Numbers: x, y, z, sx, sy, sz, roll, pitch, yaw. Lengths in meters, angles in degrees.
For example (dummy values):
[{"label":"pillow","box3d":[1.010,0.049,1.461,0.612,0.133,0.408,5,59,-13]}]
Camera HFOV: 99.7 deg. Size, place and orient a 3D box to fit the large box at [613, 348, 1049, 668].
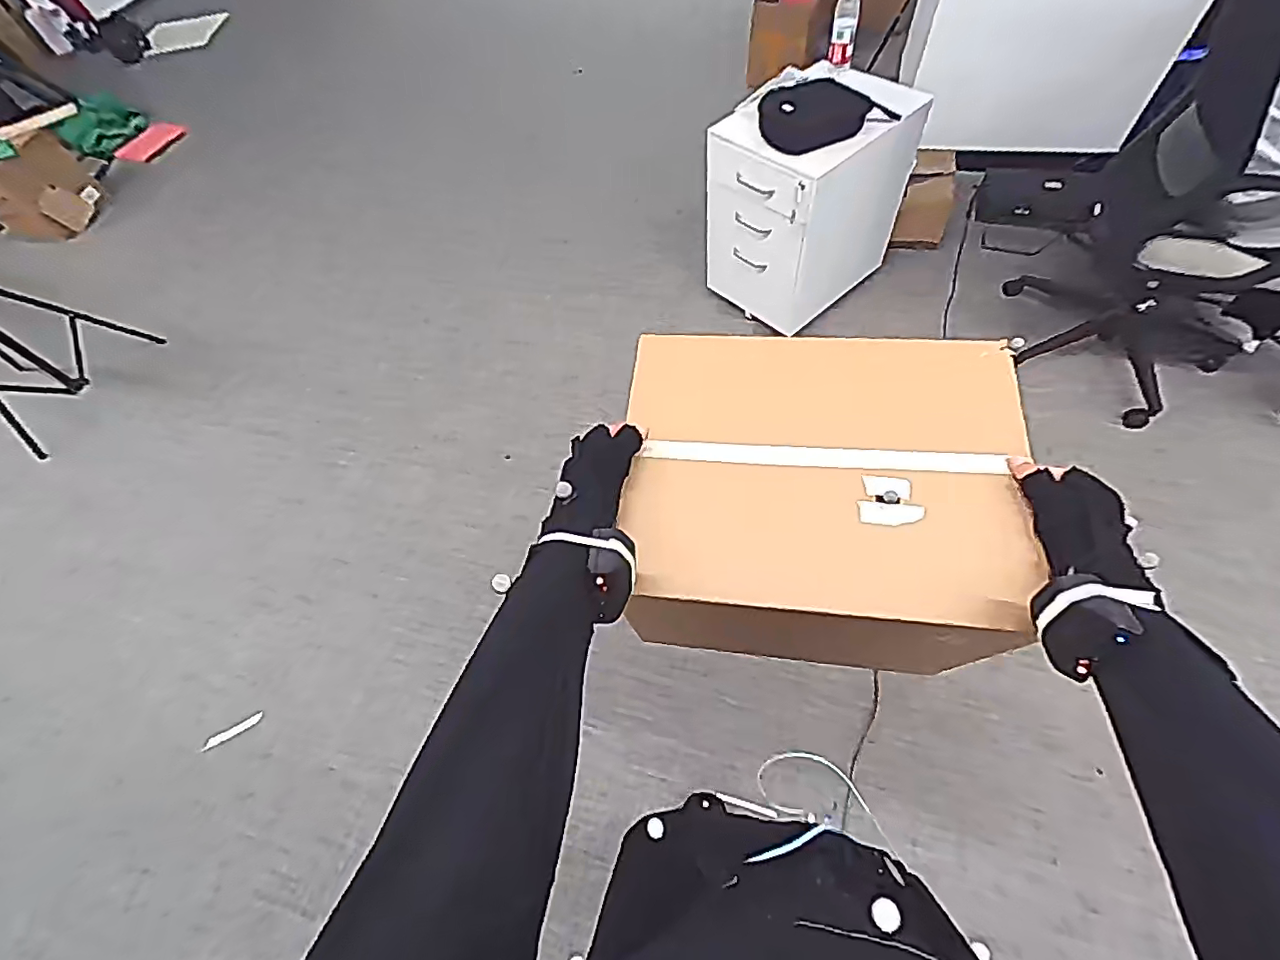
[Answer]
[{"label":"large box","box3d":[0.200,0.049,0.701,0.408,0.320,0.320,4,66,10]}]
